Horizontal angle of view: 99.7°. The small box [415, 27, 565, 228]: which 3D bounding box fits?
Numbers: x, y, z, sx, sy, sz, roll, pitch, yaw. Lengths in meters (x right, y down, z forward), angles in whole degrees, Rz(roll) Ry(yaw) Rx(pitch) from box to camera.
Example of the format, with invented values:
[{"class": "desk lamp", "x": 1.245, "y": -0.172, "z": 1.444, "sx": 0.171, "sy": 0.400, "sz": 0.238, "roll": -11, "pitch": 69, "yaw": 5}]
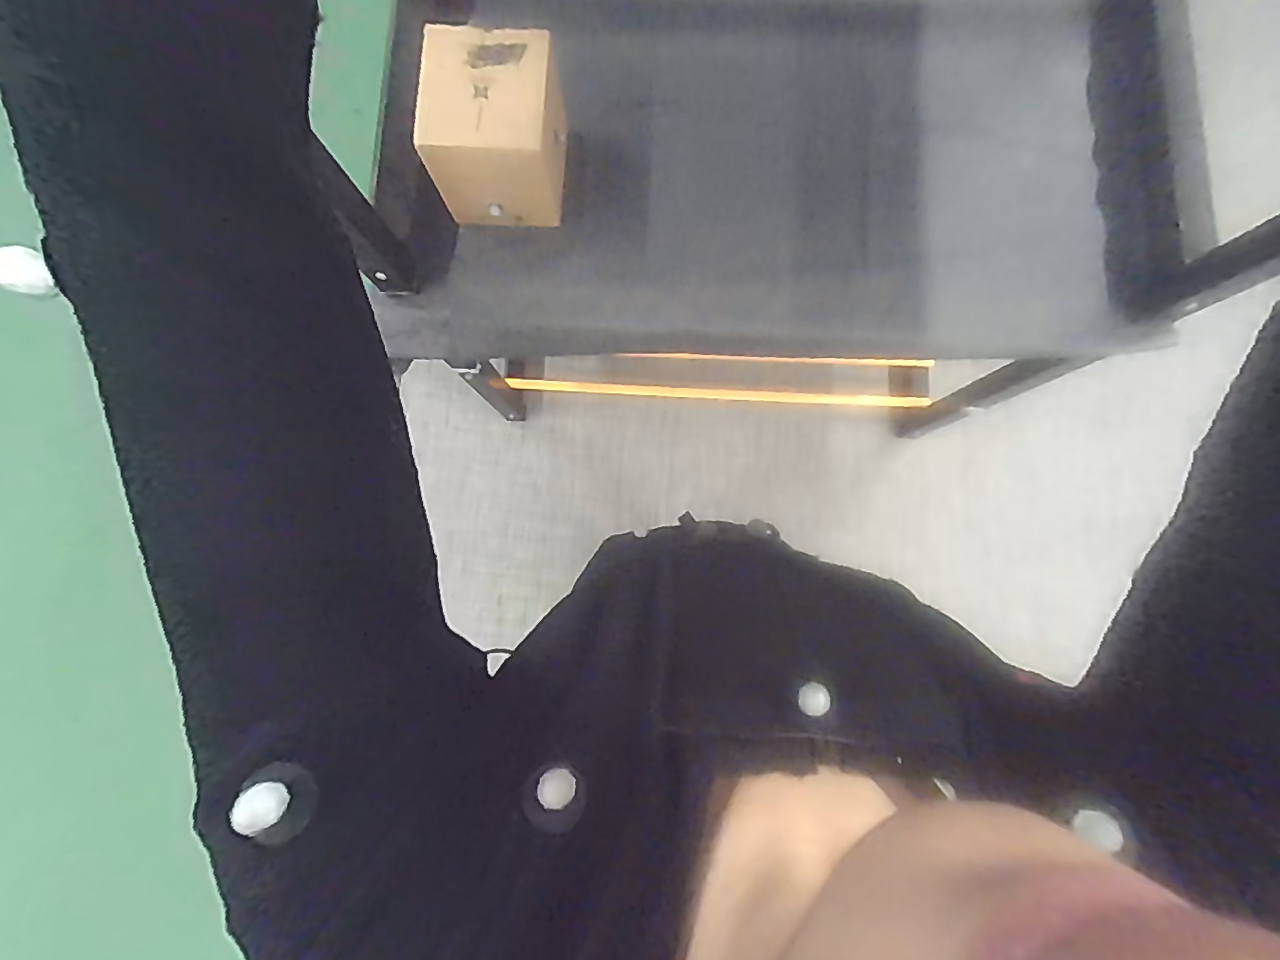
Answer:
[{"class": "small box", "x": -0.203, "y": -0.499, "z": 0.782, "sx": 0.168, "sy": 0.176, "sz": 0.179, "roll": 3, "pitch": 82, "yaw": 1}]
